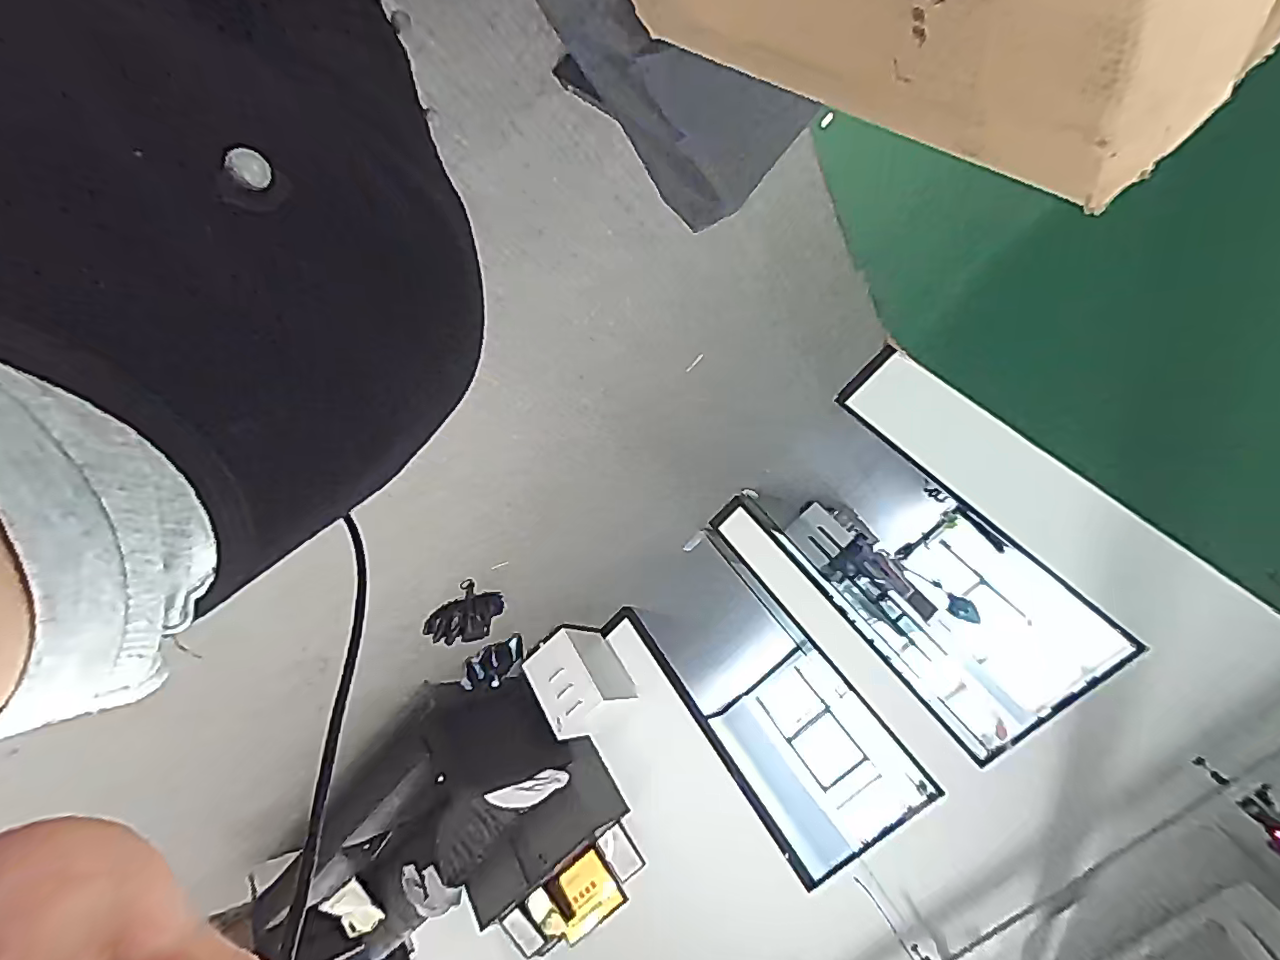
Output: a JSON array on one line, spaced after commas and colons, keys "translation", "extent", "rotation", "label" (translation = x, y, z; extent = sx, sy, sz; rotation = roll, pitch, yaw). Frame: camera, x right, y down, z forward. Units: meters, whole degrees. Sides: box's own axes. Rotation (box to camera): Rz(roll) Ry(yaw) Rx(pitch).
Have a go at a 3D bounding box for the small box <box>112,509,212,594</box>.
[{"translation": [-1.394, 0.208, 1.572], "extent": [0.179, 0.176, 0.168], "rotation": [-48, 148, 12], "label": "small box"}]
